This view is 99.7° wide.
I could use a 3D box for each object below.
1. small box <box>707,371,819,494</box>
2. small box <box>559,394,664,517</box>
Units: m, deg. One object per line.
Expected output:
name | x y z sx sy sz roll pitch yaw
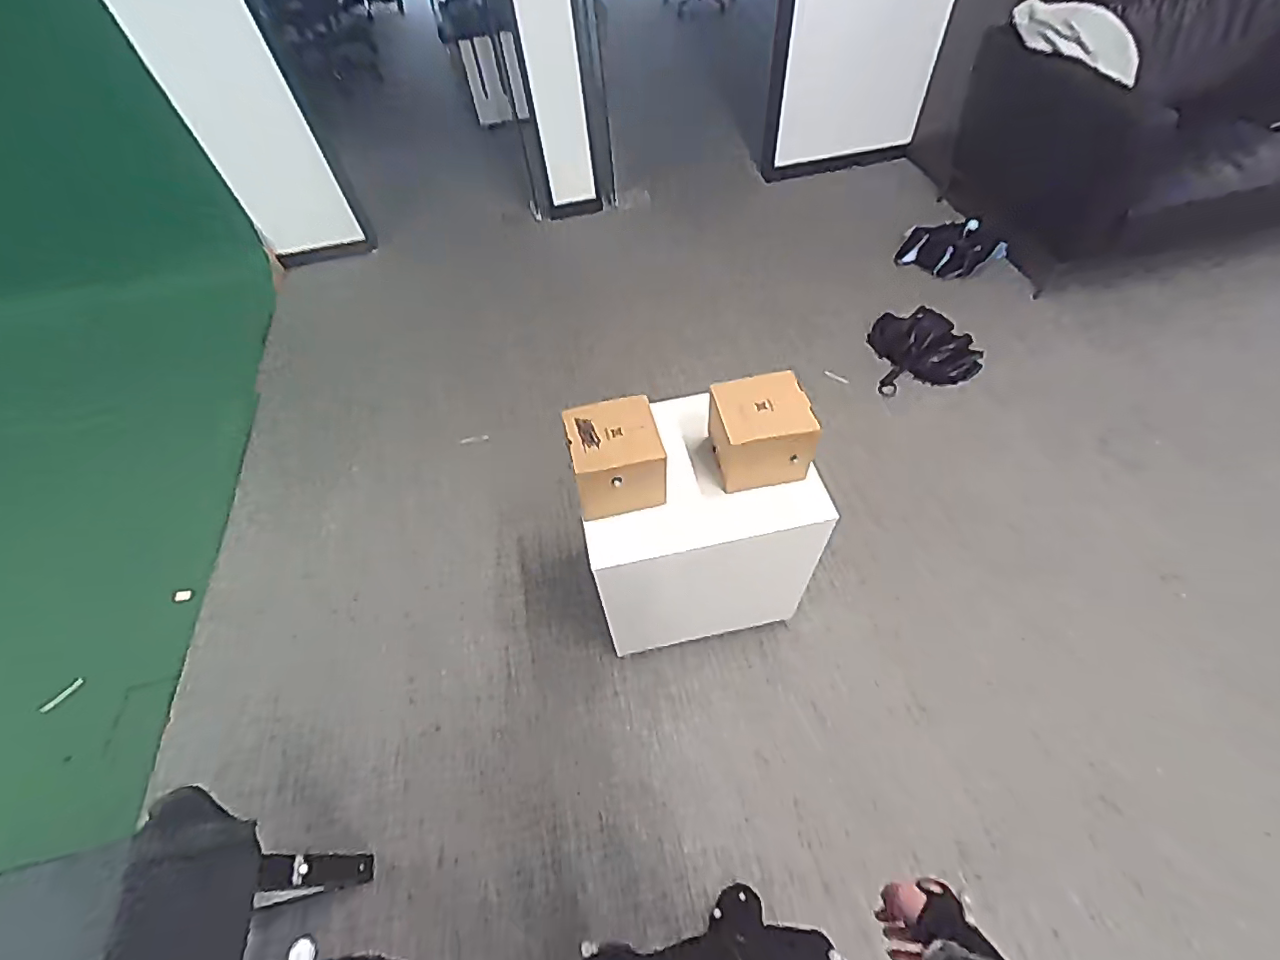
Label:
small box | 0.240 -0.094 1.106 0.179 0.176 0.168 -11 54 -2
small box | -0.054 -0.044 1.088 0.179 0.176 0.168 -12 55 -6
